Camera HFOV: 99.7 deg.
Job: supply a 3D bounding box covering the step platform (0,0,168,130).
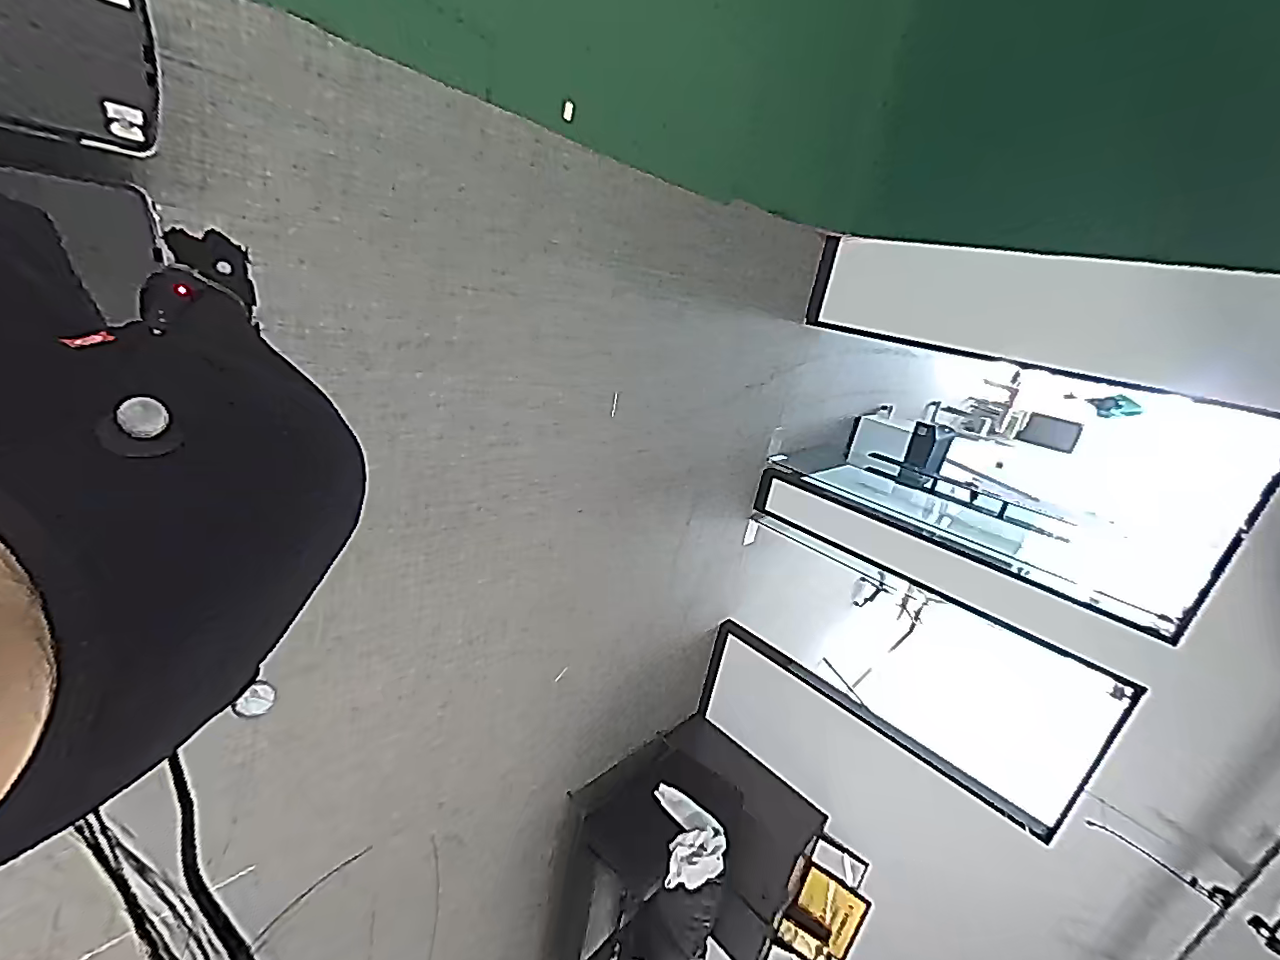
[{"bbox_3d":[-0.988,-0.651,0.600,0.684,0.204,0.286,-10,120,-45],"label":"step platform"}]
